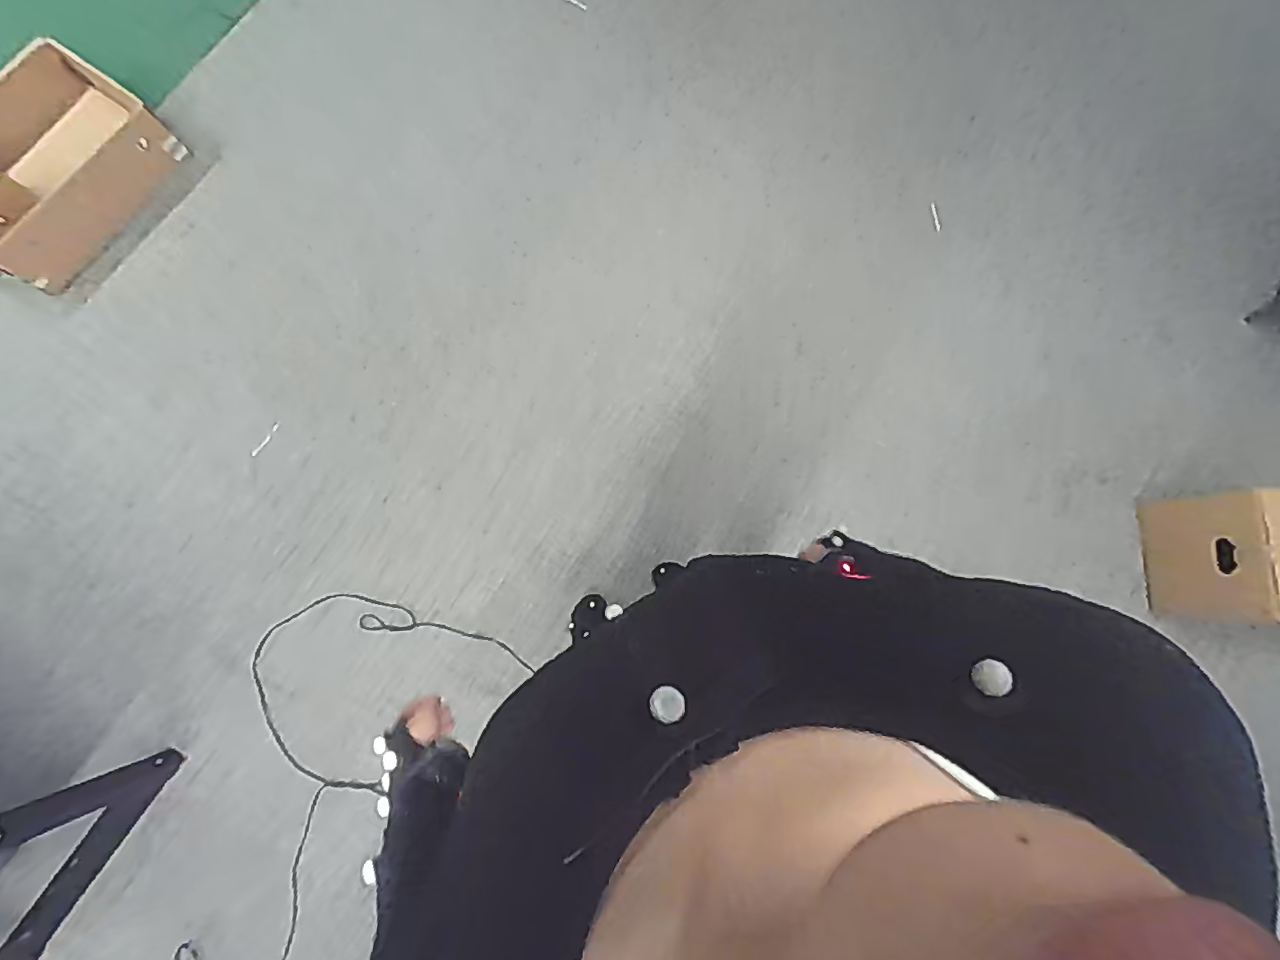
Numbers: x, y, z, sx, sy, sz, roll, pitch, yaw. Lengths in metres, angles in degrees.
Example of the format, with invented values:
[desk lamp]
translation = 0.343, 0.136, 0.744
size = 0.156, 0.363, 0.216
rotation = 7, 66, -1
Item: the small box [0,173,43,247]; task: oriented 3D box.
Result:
[small box]
translation = -1.848, -0.788, 1.495
size = 0.168, 0.176, 0.179
rotation = 36, 81, 4
